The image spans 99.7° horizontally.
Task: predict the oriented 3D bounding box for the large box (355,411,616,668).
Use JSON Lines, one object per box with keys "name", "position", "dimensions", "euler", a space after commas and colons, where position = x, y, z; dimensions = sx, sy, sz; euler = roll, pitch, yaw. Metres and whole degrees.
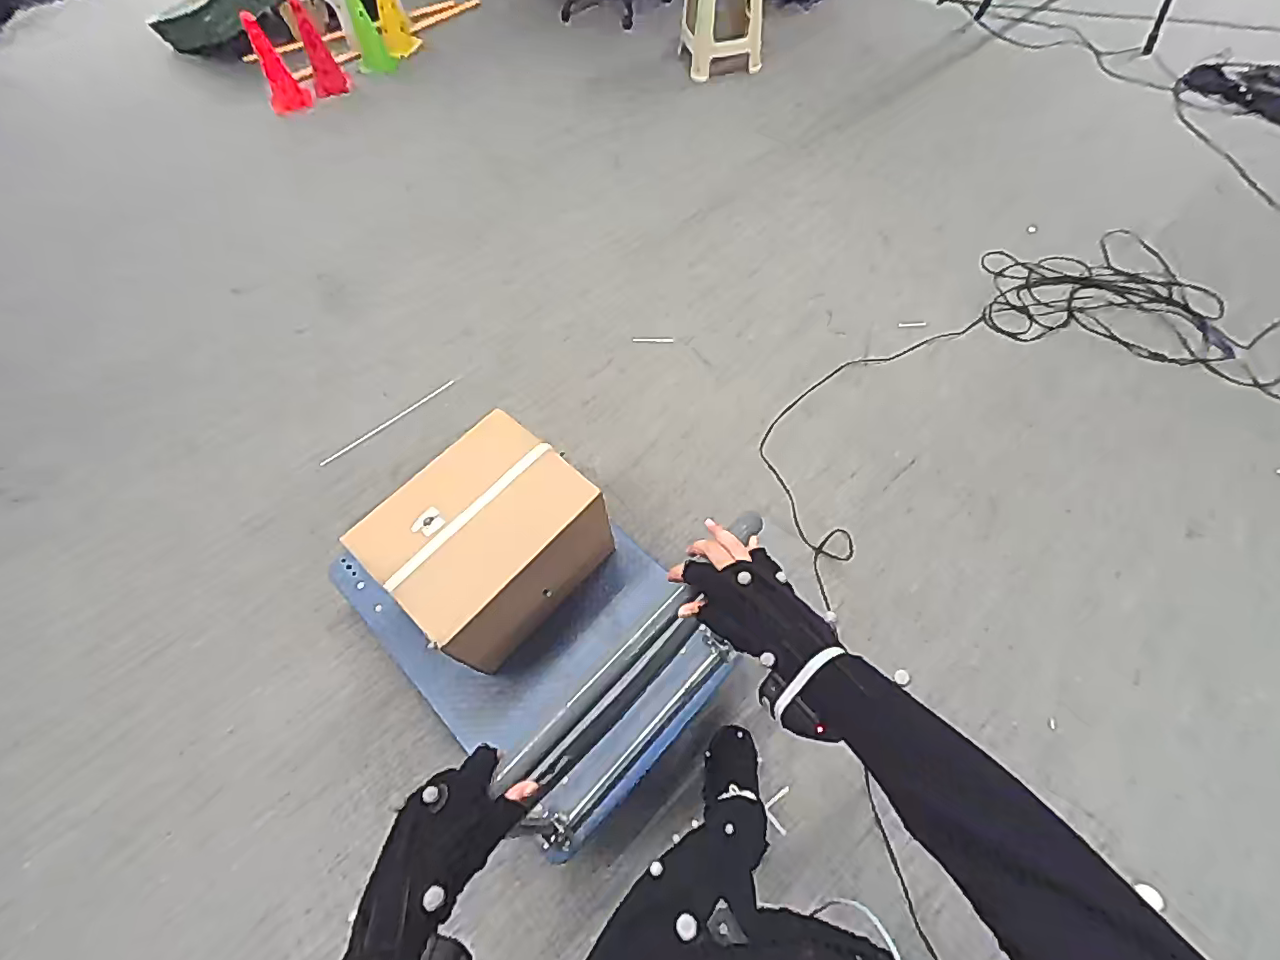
{"name": "large box", "position": [-0.301, 0.136, 1.182], "dimensions": [0.320, 0.320, 0.408], "euler": [37, 70, 20]}
